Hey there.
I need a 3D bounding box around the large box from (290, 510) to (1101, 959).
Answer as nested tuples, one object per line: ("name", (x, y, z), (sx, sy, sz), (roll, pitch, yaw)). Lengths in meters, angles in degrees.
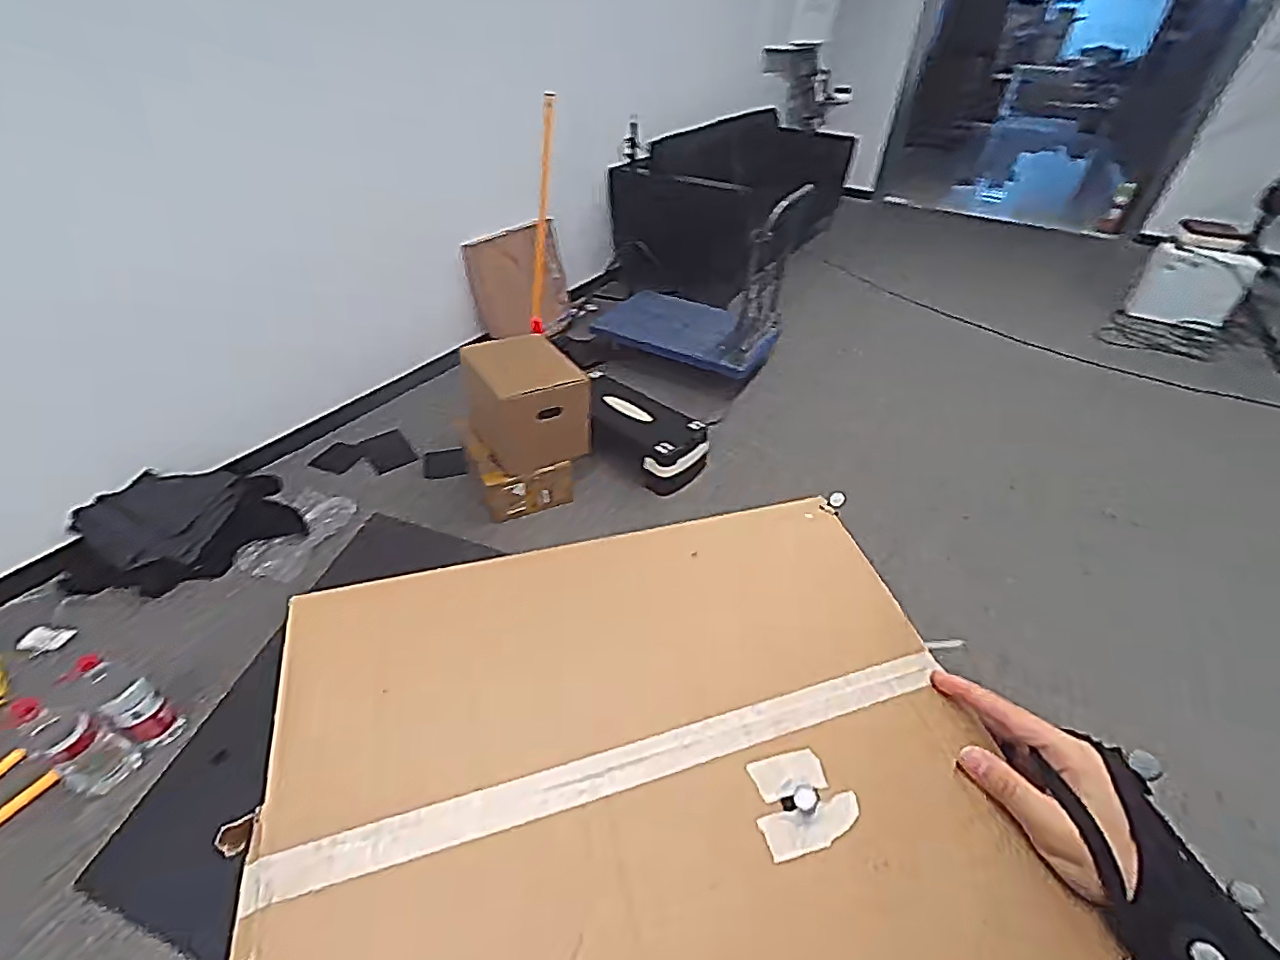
("large box", (-0.002, 0.267, 0.431), (0.408, 0.320, 0.320), (-9, 51, -17))
